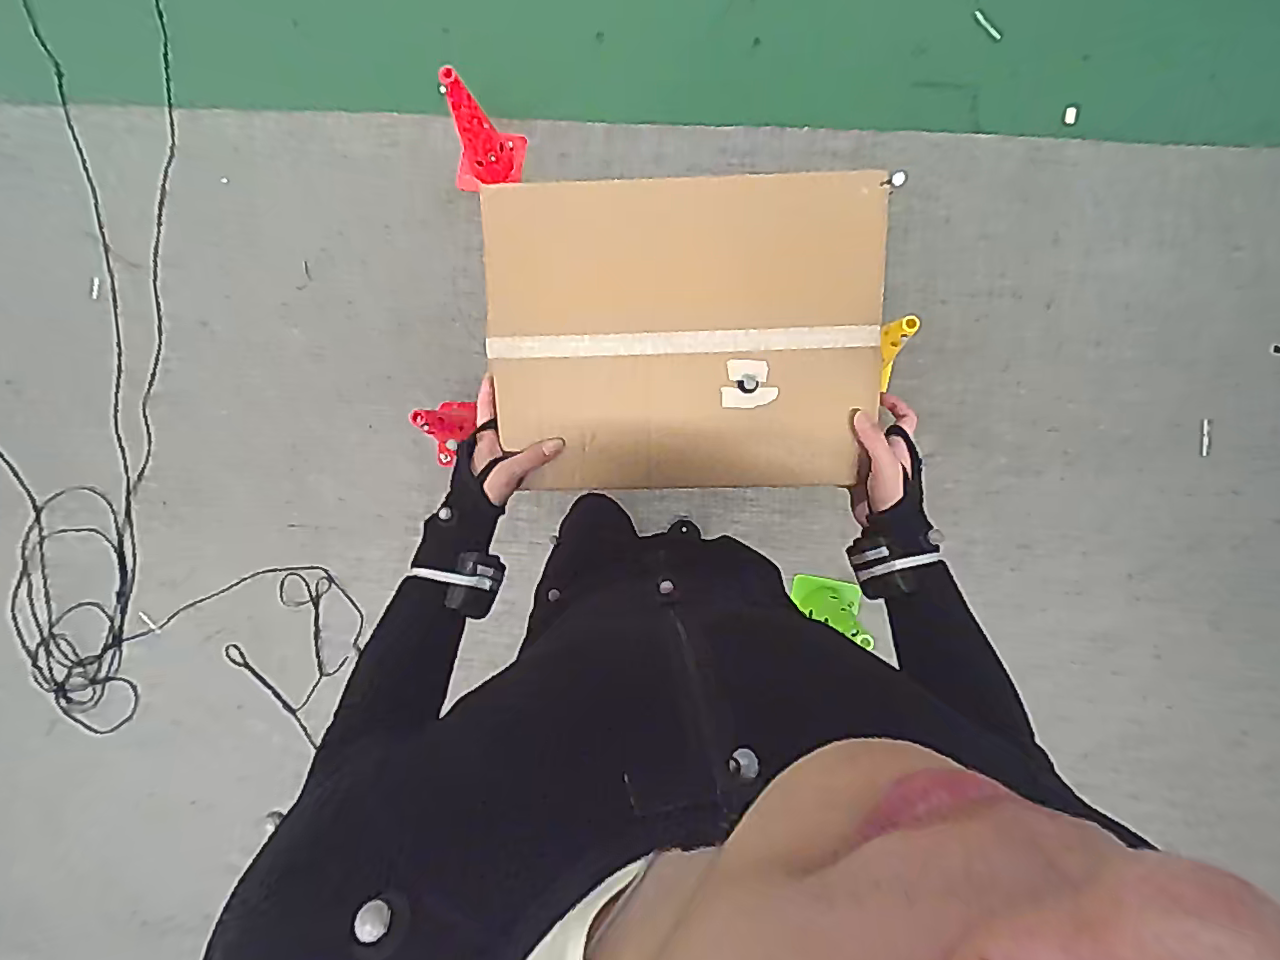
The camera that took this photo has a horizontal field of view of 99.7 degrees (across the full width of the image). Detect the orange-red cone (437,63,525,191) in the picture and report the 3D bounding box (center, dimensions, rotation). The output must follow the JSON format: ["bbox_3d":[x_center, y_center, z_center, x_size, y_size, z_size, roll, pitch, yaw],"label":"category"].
[{"bbox_3d":[-0.482,-1.012,1.523,0.199,0.360,0.198,12,87,4],"label":"orange-red cone"}]

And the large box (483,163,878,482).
[{"bbox_3d":[0.045,-0.184,0.714,0.408,0.320,0.320,-1,102,2],"label":"large box"}]

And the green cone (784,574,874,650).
[{"bbox_3d":[0.531,0.379,1.425,0.200,0.368,0.202,10,87,2],"label":"green cone"}]
